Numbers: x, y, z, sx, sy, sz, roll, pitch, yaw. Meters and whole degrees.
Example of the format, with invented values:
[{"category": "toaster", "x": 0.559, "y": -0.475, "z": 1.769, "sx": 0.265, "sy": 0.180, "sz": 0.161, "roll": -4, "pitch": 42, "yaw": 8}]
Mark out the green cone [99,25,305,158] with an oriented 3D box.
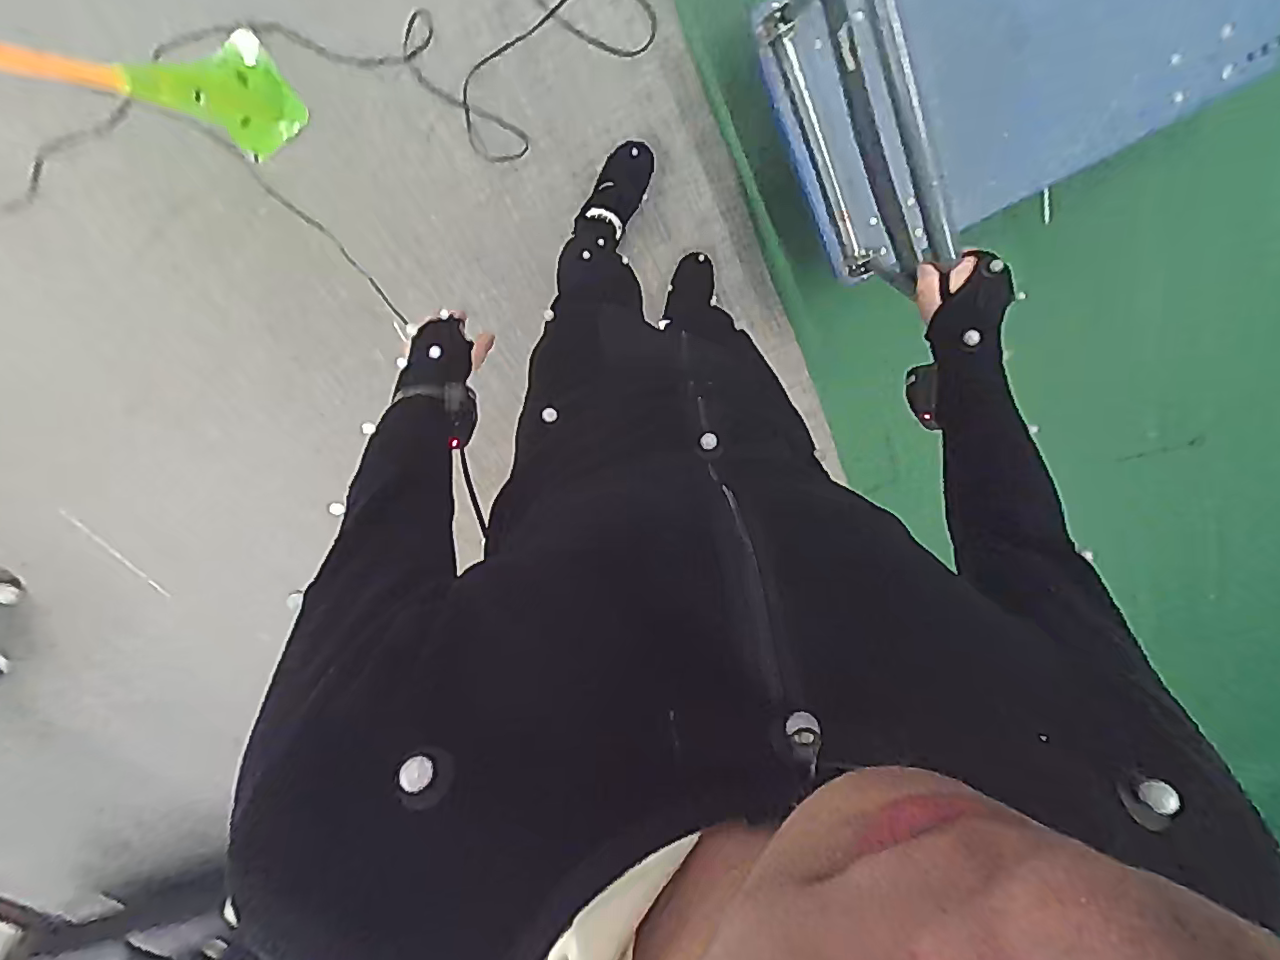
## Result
[{"category": "green cone", "x": -0.917, "y": -0.811, "z": 1.107, "sx": 0.200, "sy": 0.368, "sz": 0.202, "roll": -25, "pitch": 114, "yaw": 17}]
